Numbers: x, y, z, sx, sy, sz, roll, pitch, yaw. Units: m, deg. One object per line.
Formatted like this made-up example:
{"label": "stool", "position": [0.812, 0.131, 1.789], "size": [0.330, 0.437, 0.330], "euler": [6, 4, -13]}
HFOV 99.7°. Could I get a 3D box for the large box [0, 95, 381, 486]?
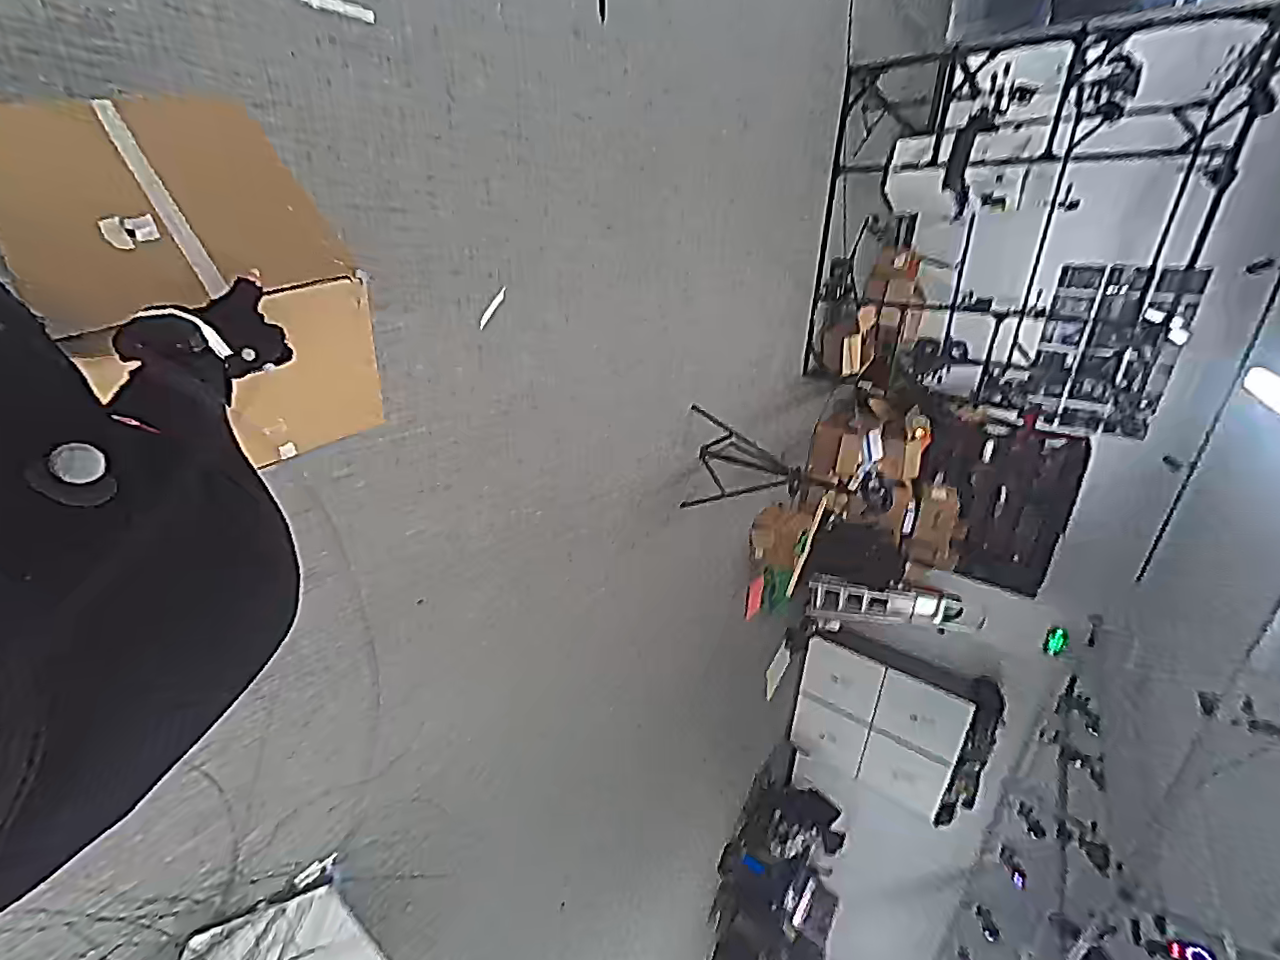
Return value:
{"label": "large box", "position": [-0.633, -0.272, 0.783], "size": [0.320, 0.408, 0.320], "euler": [-31, 165, -31]}
